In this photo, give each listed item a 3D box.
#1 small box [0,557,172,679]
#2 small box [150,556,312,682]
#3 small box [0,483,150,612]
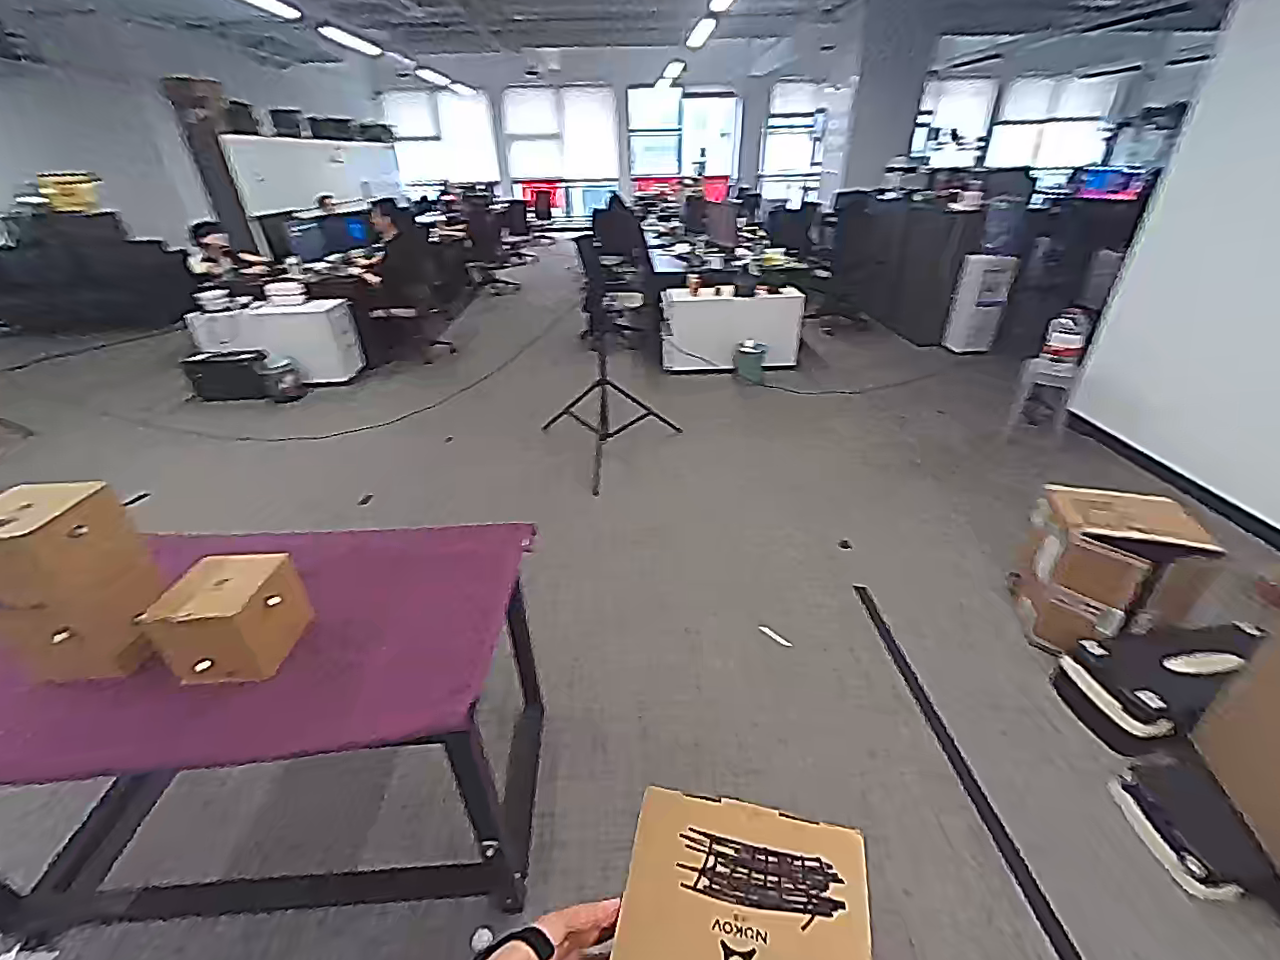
[{"bbox_3d":[-1.053,0.269,1.056,0.179,0.176,0.168,-2,30,0],"label":"small box"},{"bbox_3d":[-0.771,0.266,1.048,0.168,0.176,0.179,-2,30,0],"label":"small box"},{"bbox_3d":[-1.058,0.124,0.979,0.168,0.176,0.179,-2,30,-2],"label":"small box"}]
